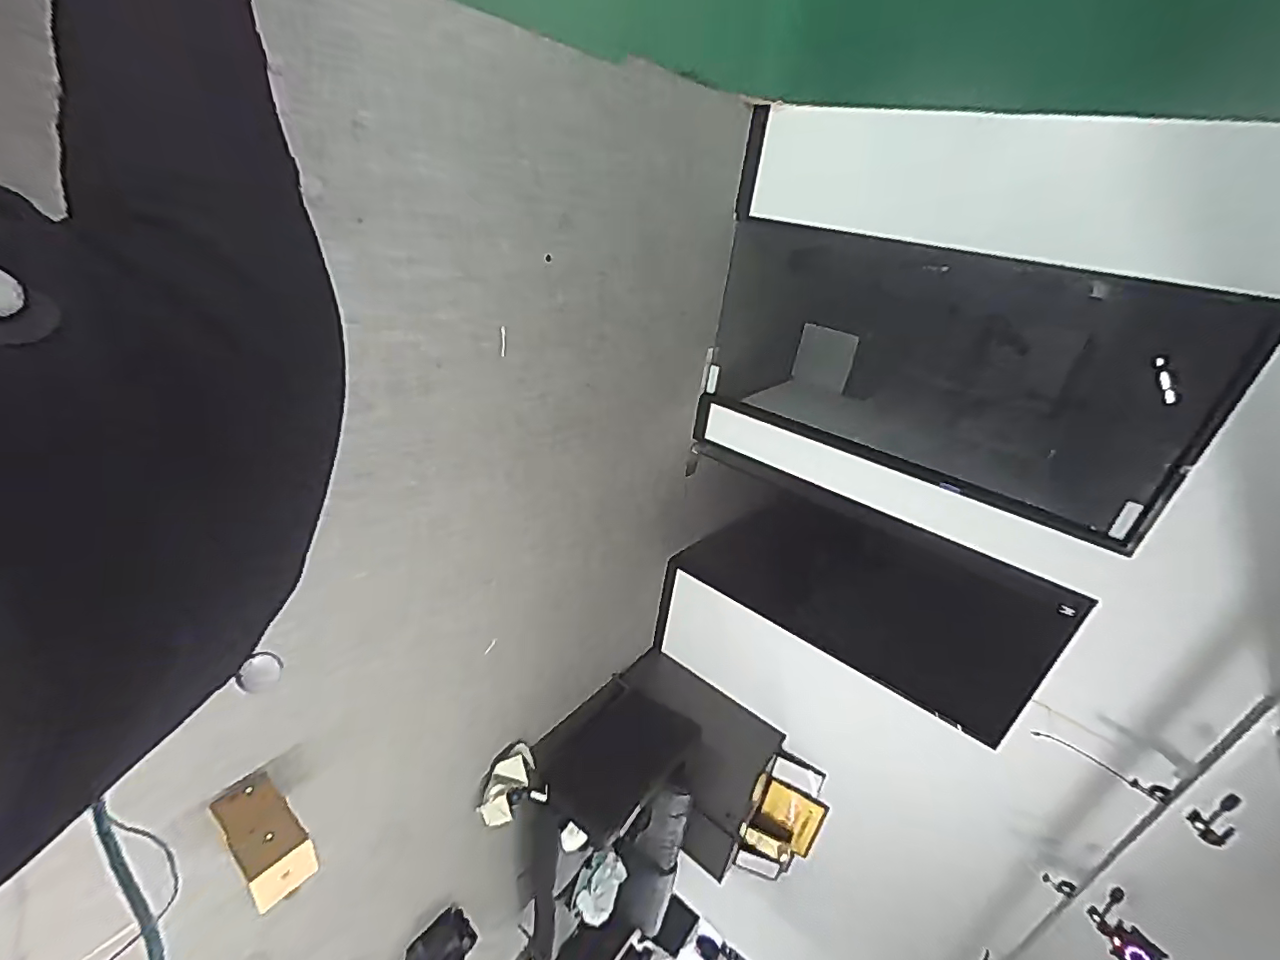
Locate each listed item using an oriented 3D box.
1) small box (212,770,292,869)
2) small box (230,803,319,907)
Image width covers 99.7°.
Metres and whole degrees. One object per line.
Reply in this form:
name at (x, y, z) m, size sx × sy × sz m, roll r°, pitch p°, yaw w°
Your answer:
small box at (-1.251, 1.093, 1.754) m, size 0.168 × 0.176 × 0.179 m, roll -23°, pitch 131°, yaw -49°
small box at (-1.123, 1.140, 1.661) m, size 0.168 × 0.176 × 0.179 m, roll -26°, pitch 134°, yaw -47°
